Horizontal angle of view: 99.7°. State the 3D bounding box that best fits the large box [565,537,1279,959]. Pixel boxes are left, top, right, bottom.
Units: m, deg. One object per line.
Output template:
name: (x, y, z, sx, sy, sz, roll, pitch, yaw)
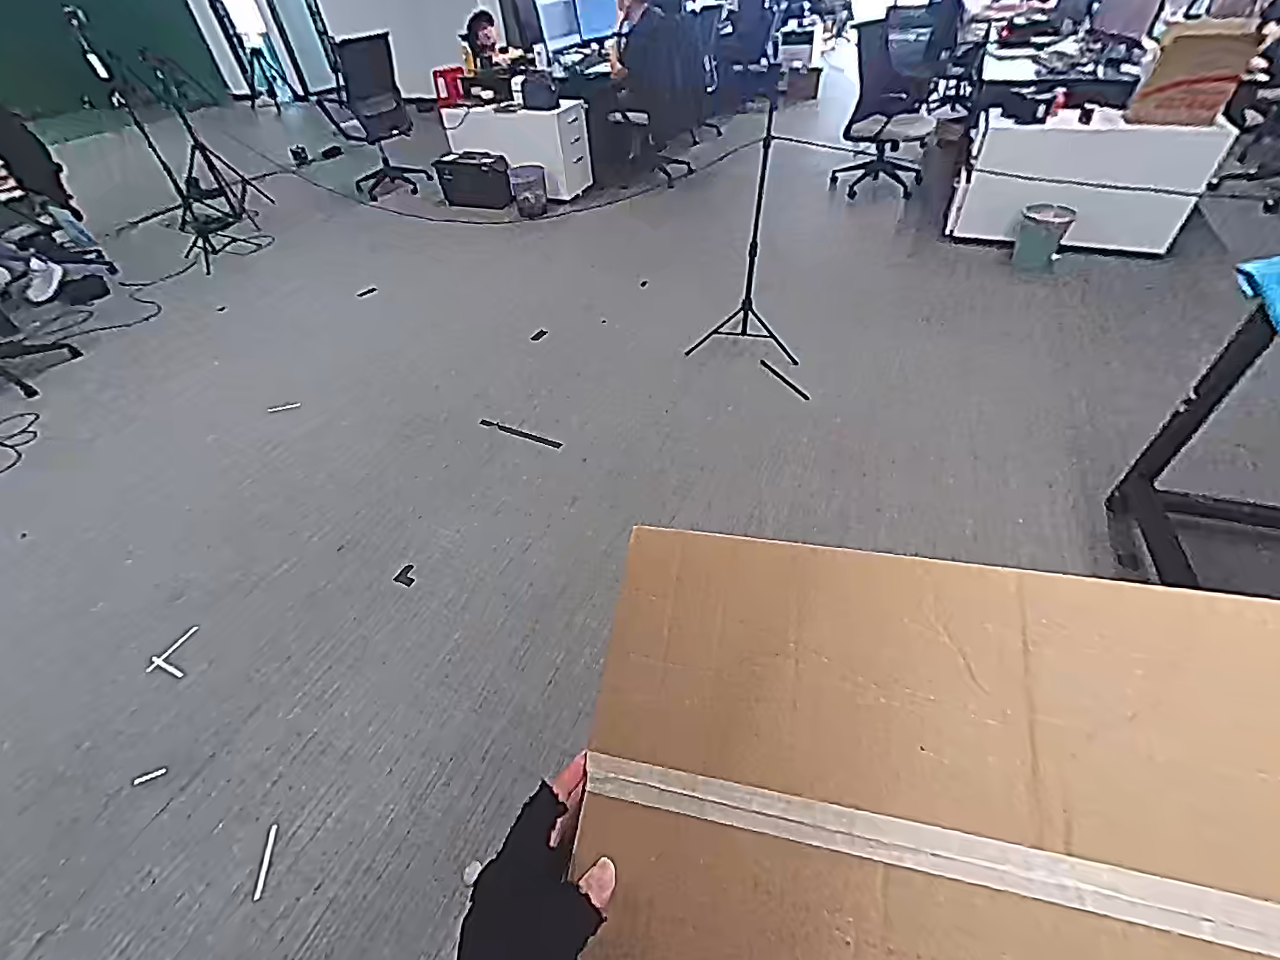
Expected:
large box: (0.193, 0.255, 0.420, 0.408, 0.320, 0.320, 6, 68, 15)
